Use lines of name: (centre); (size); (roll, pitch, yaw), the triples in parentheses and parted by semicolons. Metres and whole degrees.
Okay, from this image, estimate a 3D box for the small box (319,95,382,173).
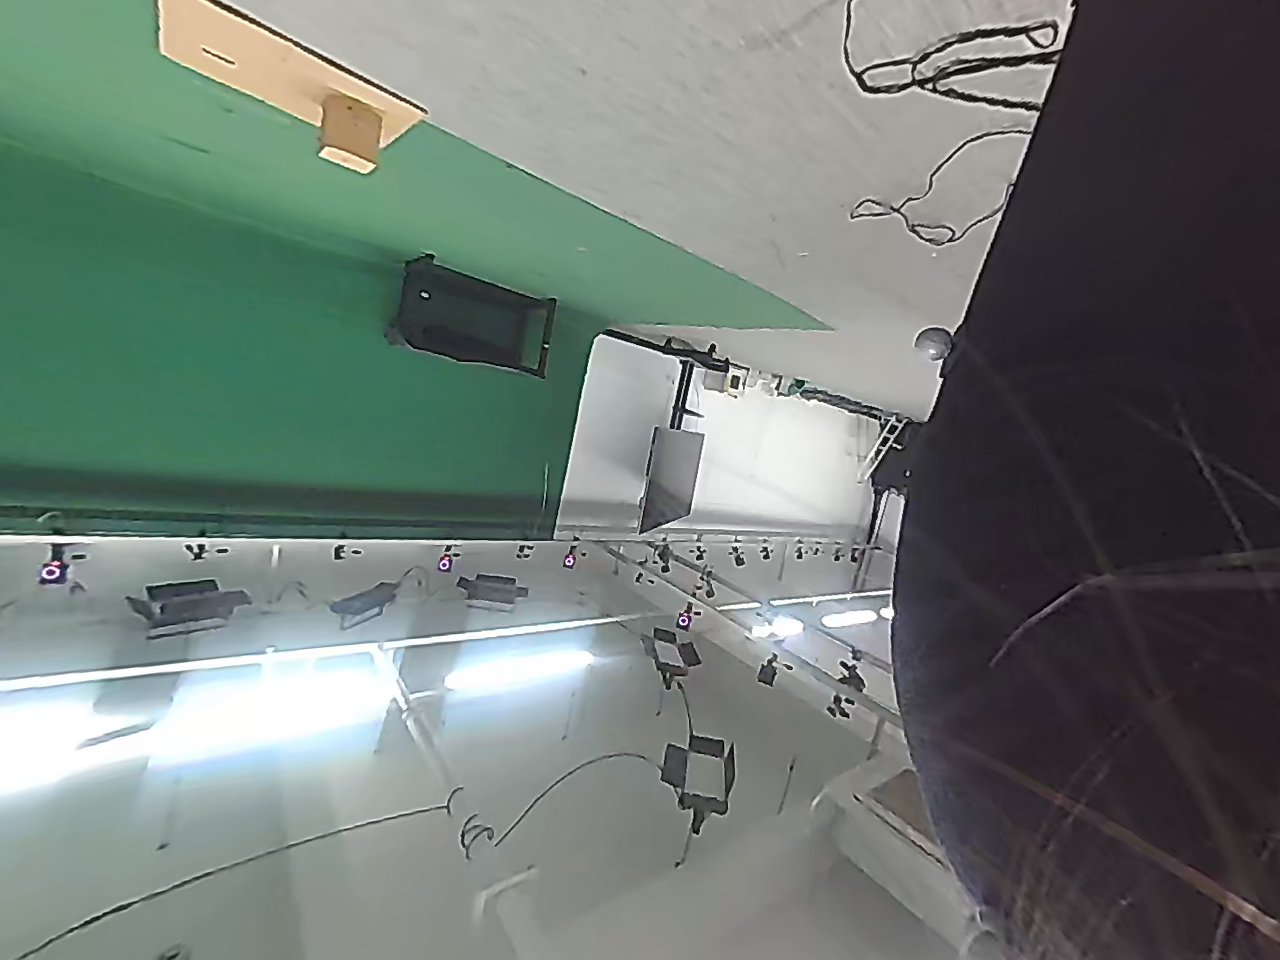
small box: (-1.053, -1.257, 1.969); (0.168, 0.176, 0.179); (4, -169, -40)
